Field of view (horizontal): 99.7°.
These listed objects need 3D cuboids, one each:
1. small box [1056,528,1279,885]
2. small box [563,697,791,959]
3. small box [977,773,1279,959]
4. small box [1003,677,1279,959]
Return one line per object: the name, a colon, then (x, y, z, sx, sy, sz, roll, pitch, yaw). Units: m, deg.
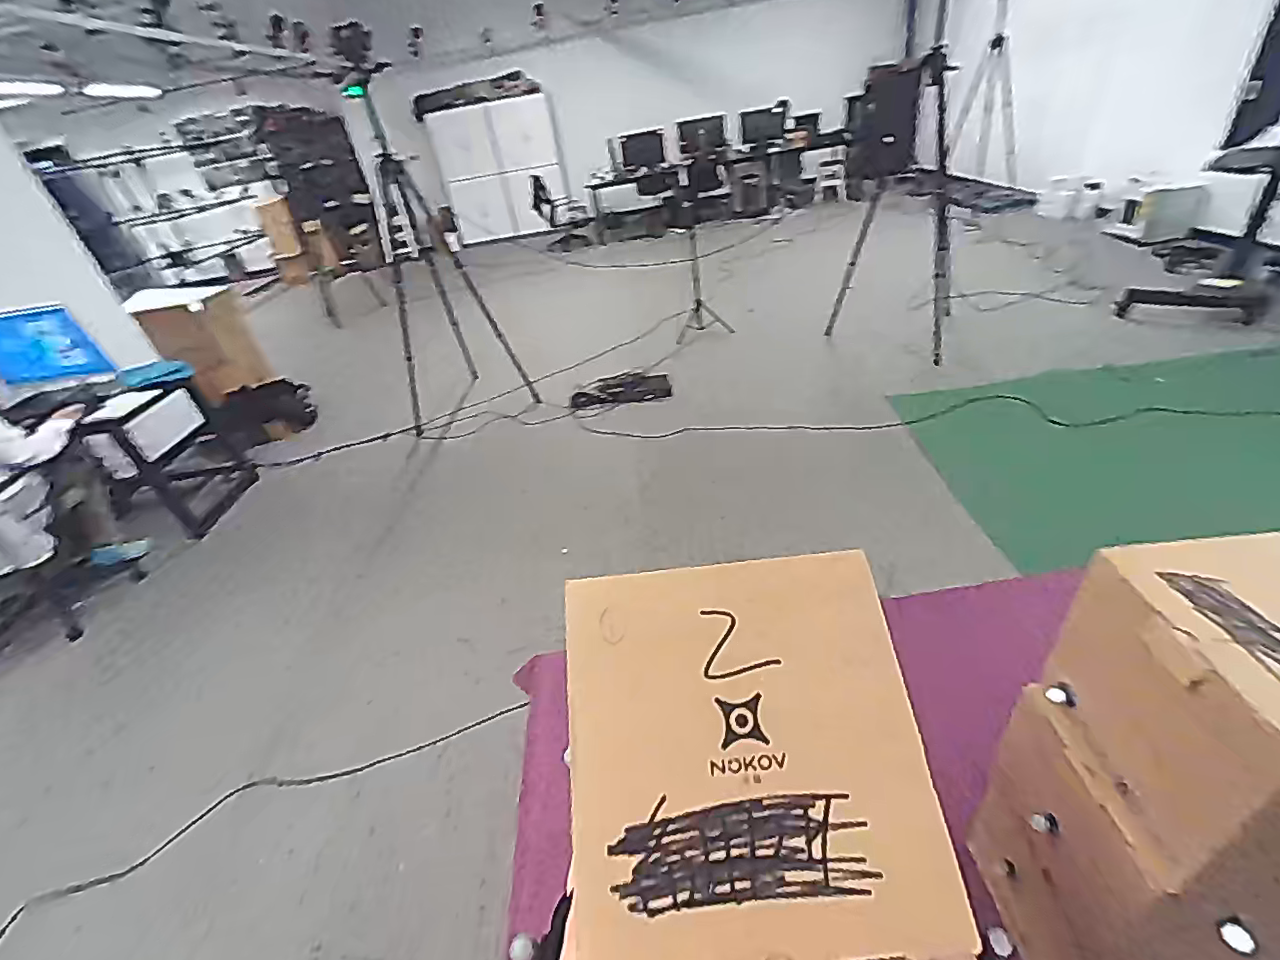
small box: (0.431, 0.152, 0.372, 0.179, 0.176, 0.168, -6, 35, 5)
small box: (0.037, 0.336, 0.512, 0.179, 0.176, 0.168, -9, 36, 3)
small box: (0.482, 0.418, 0.560, 0.179, 0.176, 0.168, -9, 35, 3)
small box: (0.448, 0.286, 0.468, 0.179, 0.176, 0.168, -7, 35, 6)
